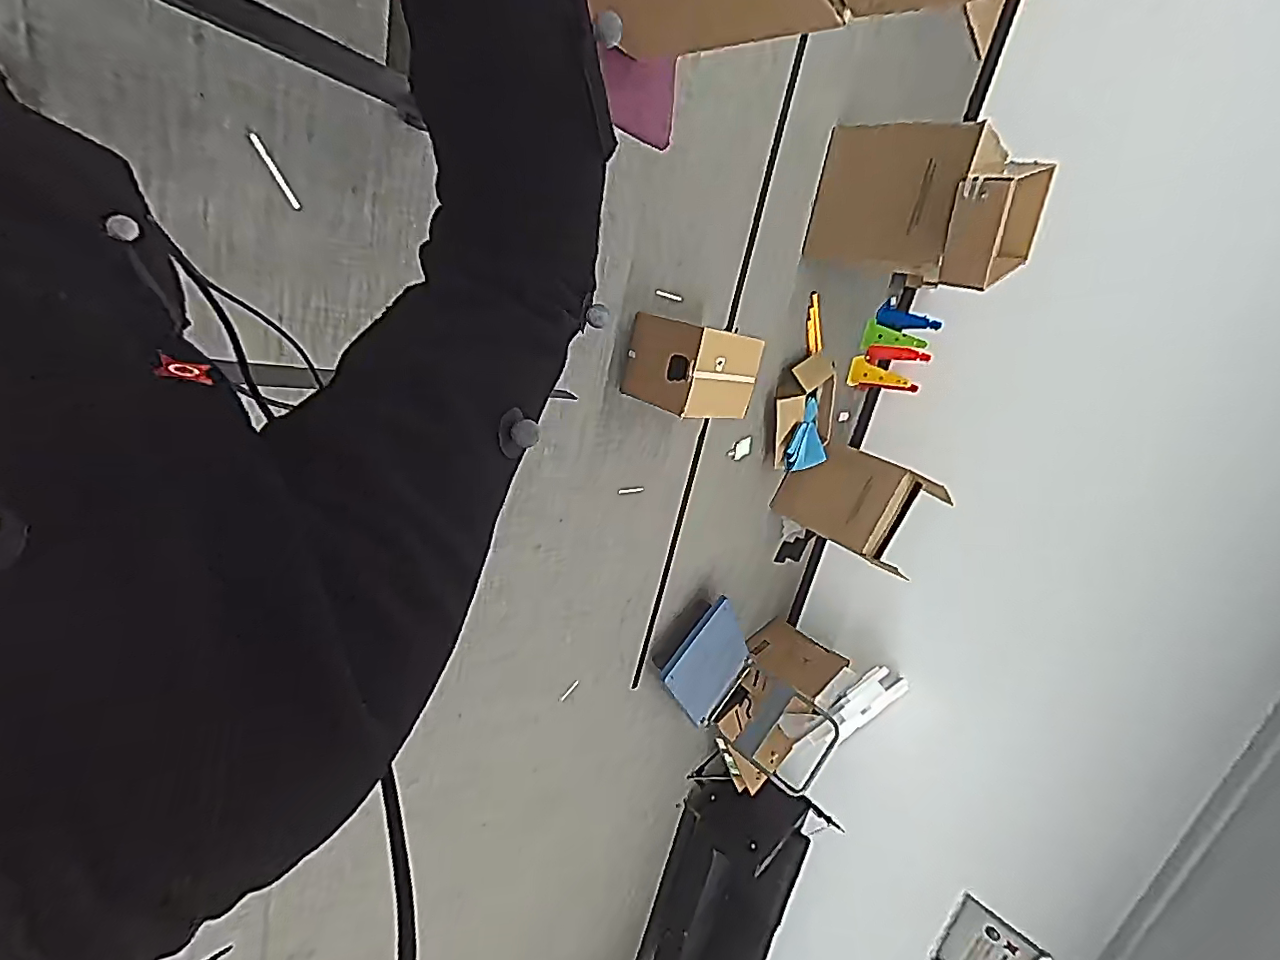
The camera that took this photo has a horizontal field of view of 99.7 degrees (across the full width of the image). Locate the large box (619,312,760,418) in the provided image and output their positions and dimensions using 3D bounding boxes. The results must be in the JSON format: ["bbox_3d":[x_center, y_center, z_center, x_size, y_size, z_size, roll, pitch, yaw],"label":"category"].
[{"bbox_3d":[0.187,-0.430,2.041,0.408,0.320,0.320,-7,116,-47],"label":"large box"}]
